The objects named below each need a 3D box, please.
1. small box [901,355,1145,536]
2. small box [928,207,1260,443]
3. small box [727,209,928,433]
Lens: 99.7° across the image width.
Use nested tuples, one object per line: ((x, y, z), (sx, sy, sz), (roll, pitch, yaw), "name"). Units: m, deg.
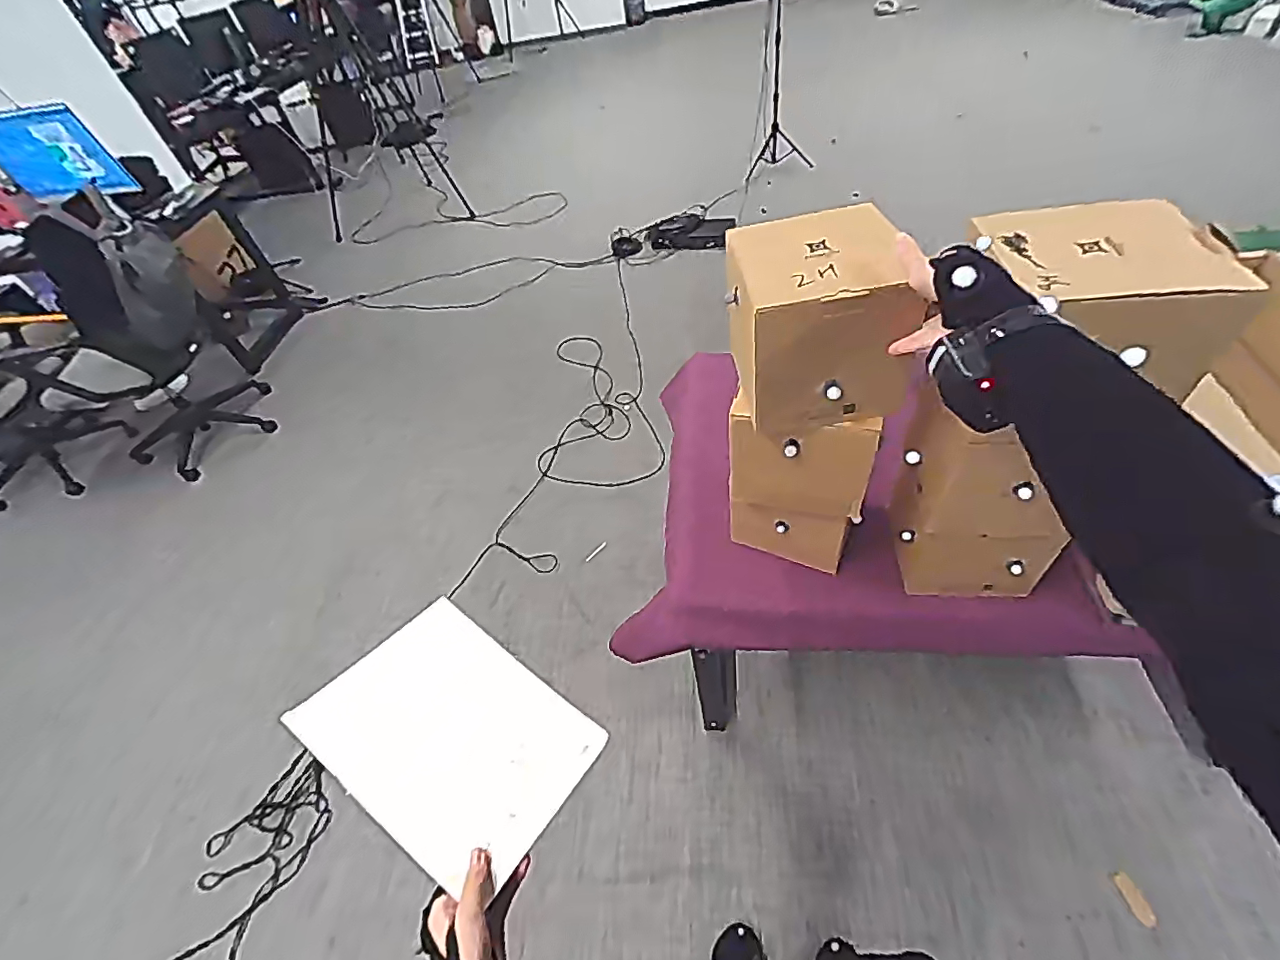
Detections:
((0.446, -0.043, 0.669), (0.179, 0.176, 0.168), (-1, 48, 11), "small box")
((0.422, -0.151, 0.548), (0.179, 0.176, 0.168), (-1, 48, 10), "small box")
((0.195, -0.179, 0.619), (0.168, 0.176, 0.179), (-9, 48, 5), "small box")
